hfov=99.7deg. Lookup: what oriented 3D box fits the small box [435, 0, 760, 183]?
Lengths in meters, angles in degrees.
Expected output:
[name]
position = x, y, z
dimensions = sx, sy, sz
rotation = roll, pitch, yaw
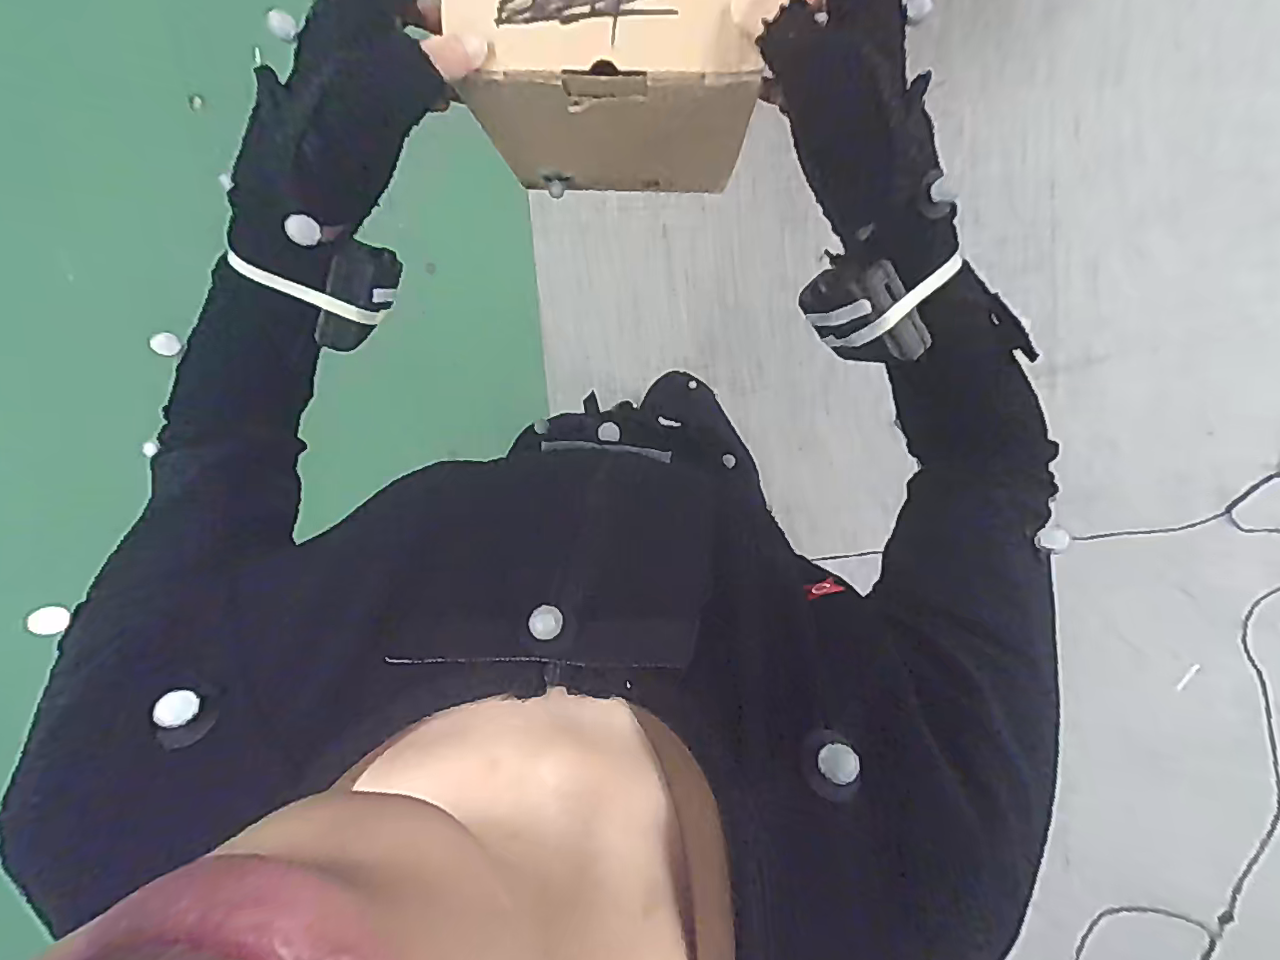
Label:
[small box]
position = -0.016, -0.306, 0.337
dimensions = 0.168, 0.176, 0.179
rotation = 2, 99, 1
